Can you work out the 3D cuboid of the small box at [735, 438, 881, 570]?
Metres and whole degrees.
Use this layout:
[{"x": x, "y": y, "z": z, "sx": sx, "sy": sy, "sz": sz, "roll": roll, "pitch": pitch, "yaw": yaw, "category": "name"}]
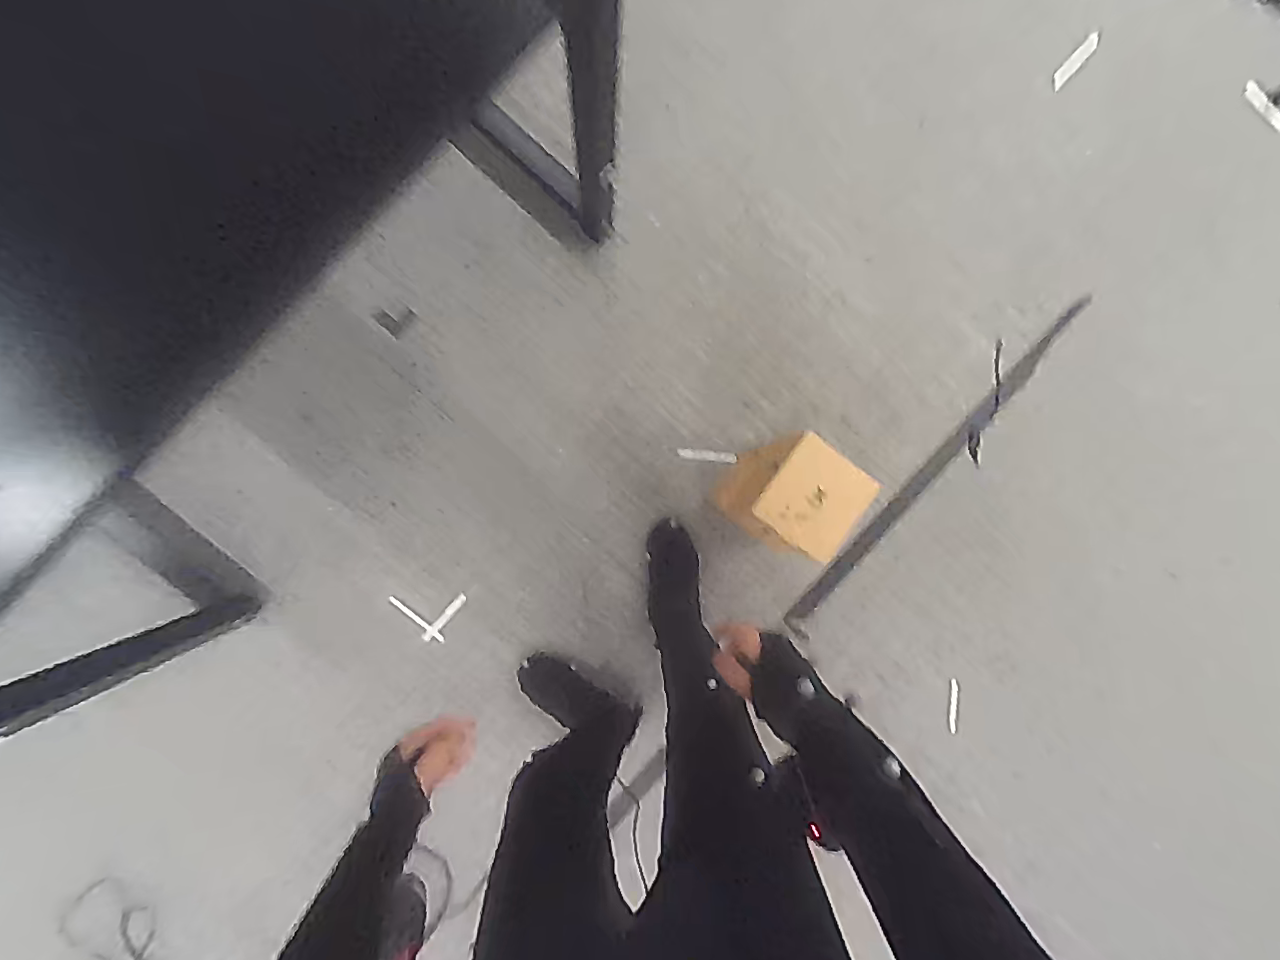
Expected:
[{"x": 0.301, "y": 0.038, "z": 1.013, "sx": 0.168, "sy": 0.176, "sz": 0.179, "roll": 37, "pitch": 90, "yaw": -5, "category": "small box"}]
